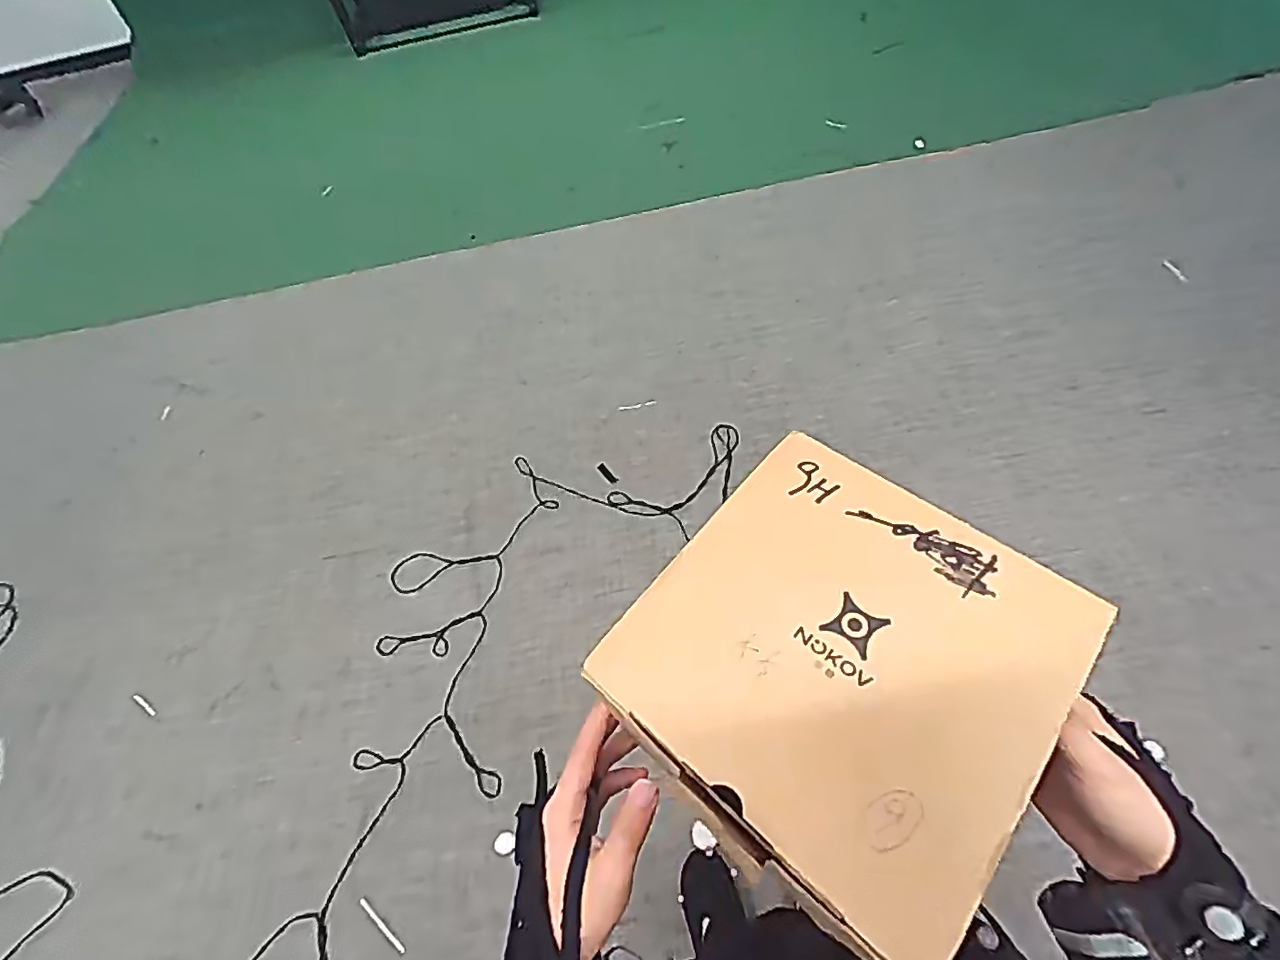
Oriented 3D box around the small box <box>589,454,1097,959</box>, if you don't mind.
[{"bbox_3d":[0.100,0.126,0.315,0.168,0.176,0.179,35,67,25],"label":"small box"}]
